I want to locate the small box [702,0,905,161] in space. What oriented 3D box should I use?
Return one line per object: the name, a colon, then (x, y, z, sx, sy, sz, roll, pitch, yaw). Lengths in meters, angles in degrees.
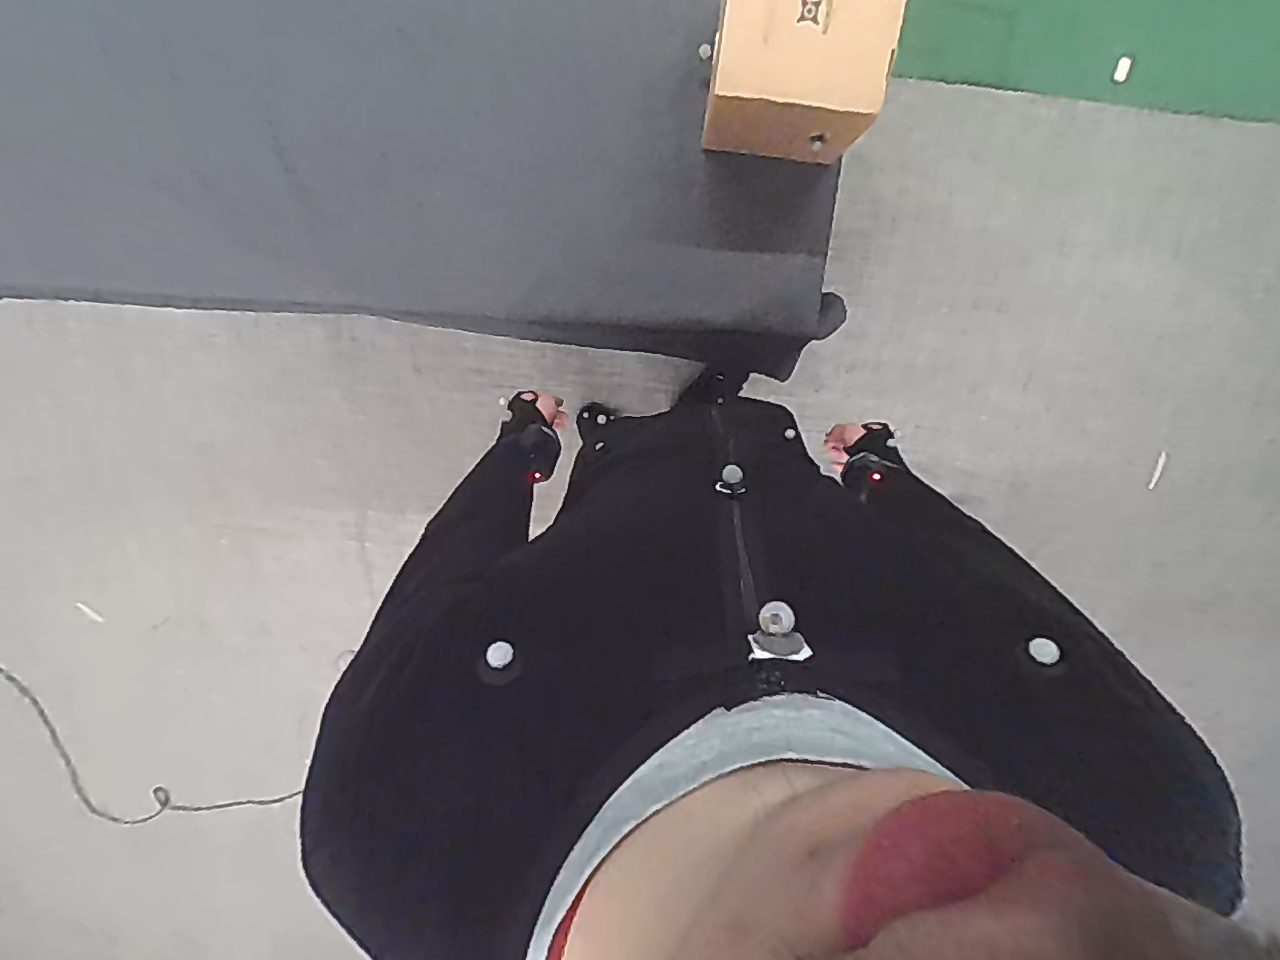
small box: (0.171, -0.477, 0.604, 0.179, 0.176, 0.168, 7, 105, 1)
